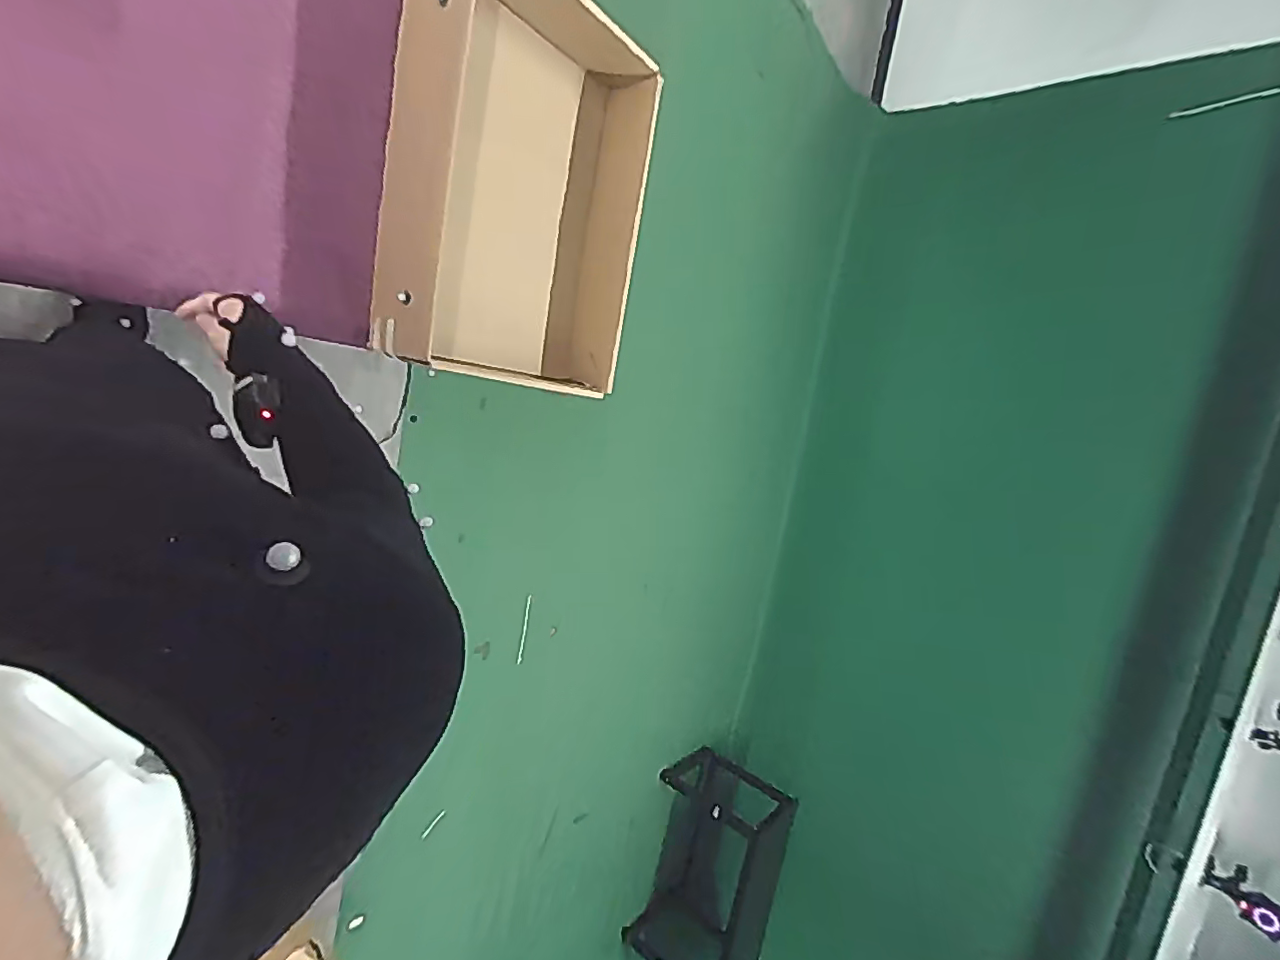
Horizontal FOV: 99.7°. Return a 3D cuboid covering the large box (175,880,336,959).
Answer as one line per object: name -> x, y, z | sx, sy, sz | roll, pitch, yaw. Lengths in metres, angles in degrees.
large box -> -1.152, 1.488, 1.542 | 0.408, 0.320, 0.320 | -41, 133, -37
